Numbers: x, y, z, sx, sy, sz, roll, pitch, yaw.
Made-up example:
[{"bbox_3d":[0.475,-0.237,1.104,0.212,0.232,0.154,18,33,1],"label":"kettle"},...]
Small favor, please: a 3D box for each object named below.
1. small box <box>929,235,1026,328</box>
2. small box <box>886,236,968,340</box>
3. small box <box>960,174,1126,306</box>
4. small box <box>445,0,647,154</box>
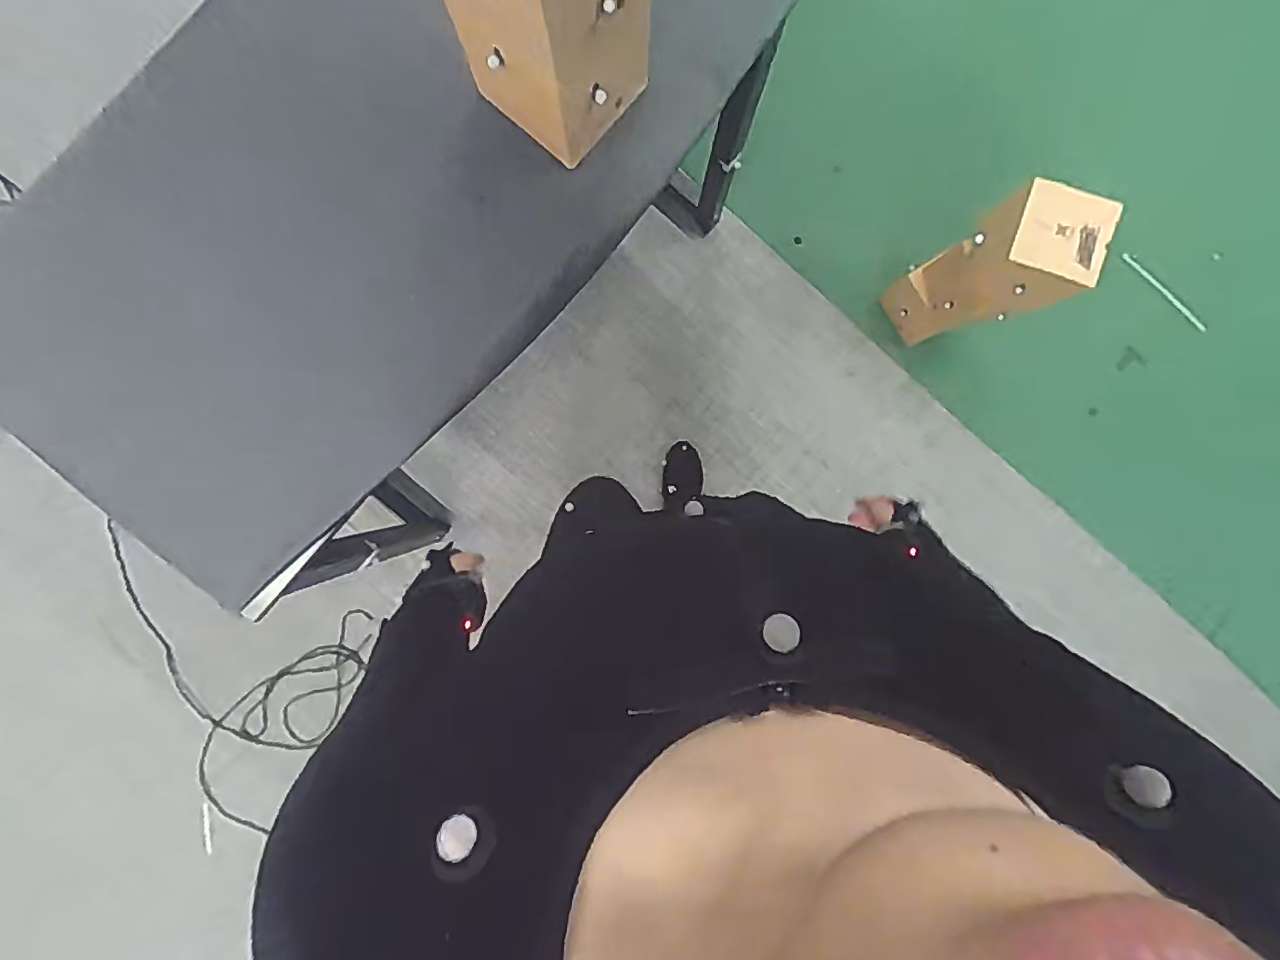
[{"bbox_3d":[0.796,-0.461,1.246,0.179,0.176,0.168,-12,92,-2],"label":"small box"},{"bbox_3d":[0.773,-0.488,1.407,0.179,0.176,0.168,-32,92,-1],"label":"small box"},{"bbox_3d":[0.792,-0.465,1.081,0.179,0.176,0.168,18,91,-1],"label":"small box"},{"bbox_3d":[-0.102,-0.543,0.661,0.179,0.176,0.168,41,90,0],"label":"small box"}]
